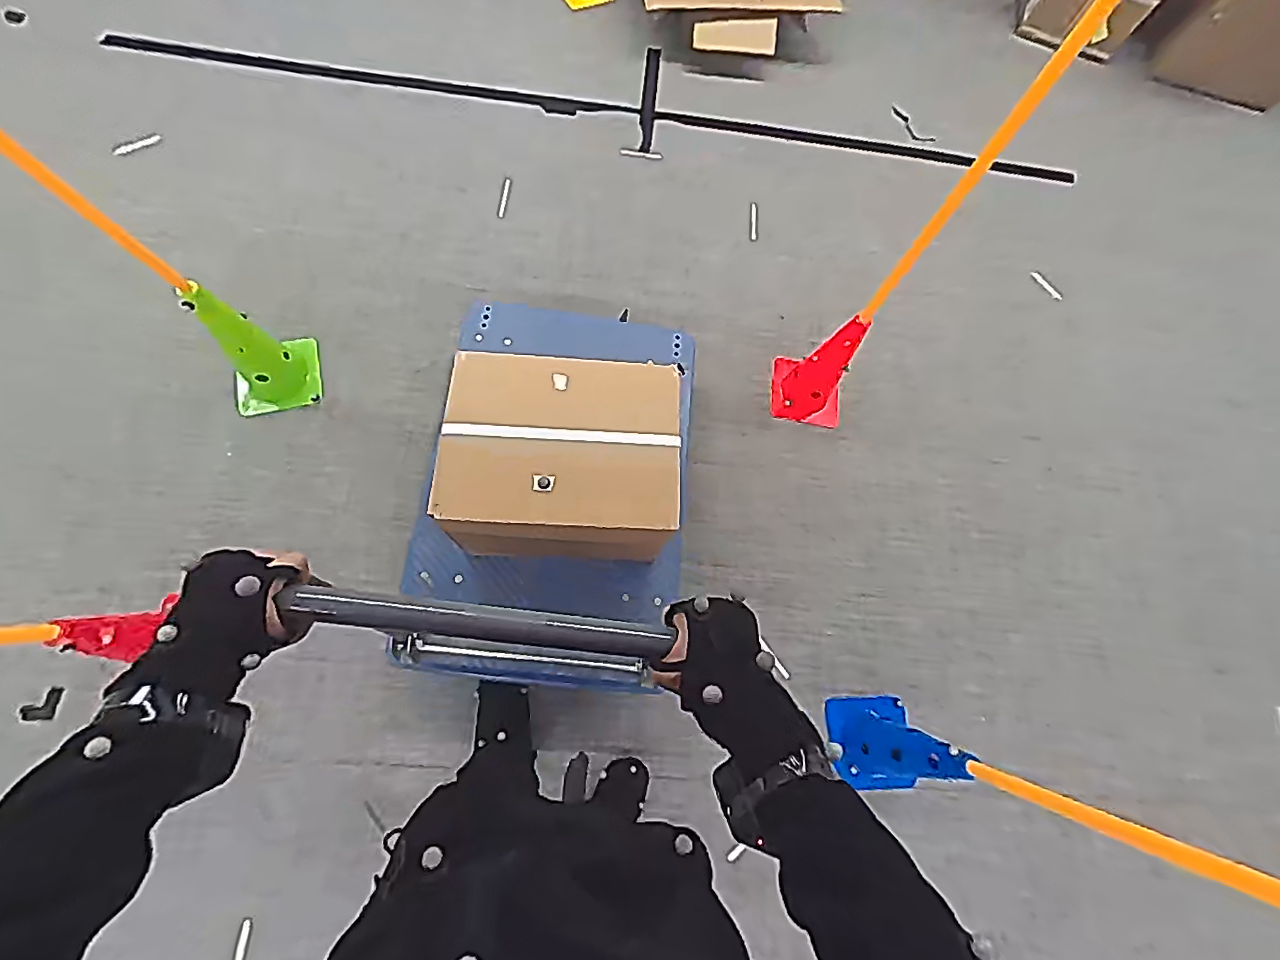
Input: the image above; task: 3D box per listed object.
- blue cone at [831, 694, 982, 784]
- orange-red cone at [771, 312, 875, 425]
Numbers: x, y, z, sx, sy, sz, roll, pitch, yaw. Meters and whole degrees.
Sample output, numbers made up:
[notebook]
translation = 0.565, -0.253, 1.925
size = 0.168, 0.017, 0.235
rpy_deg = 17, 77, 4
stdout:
[blue cone]
translation = 0.569, 0.551, 1.122
size = 0.193, 0.380, 0.192
rpy_deg = 2, 70, -6
[orange-red cone]
translation = 0.503, -0.314, 1.399
size = 0.199, 0.360, 0.198
rpy_deg = 12, 71, -3
